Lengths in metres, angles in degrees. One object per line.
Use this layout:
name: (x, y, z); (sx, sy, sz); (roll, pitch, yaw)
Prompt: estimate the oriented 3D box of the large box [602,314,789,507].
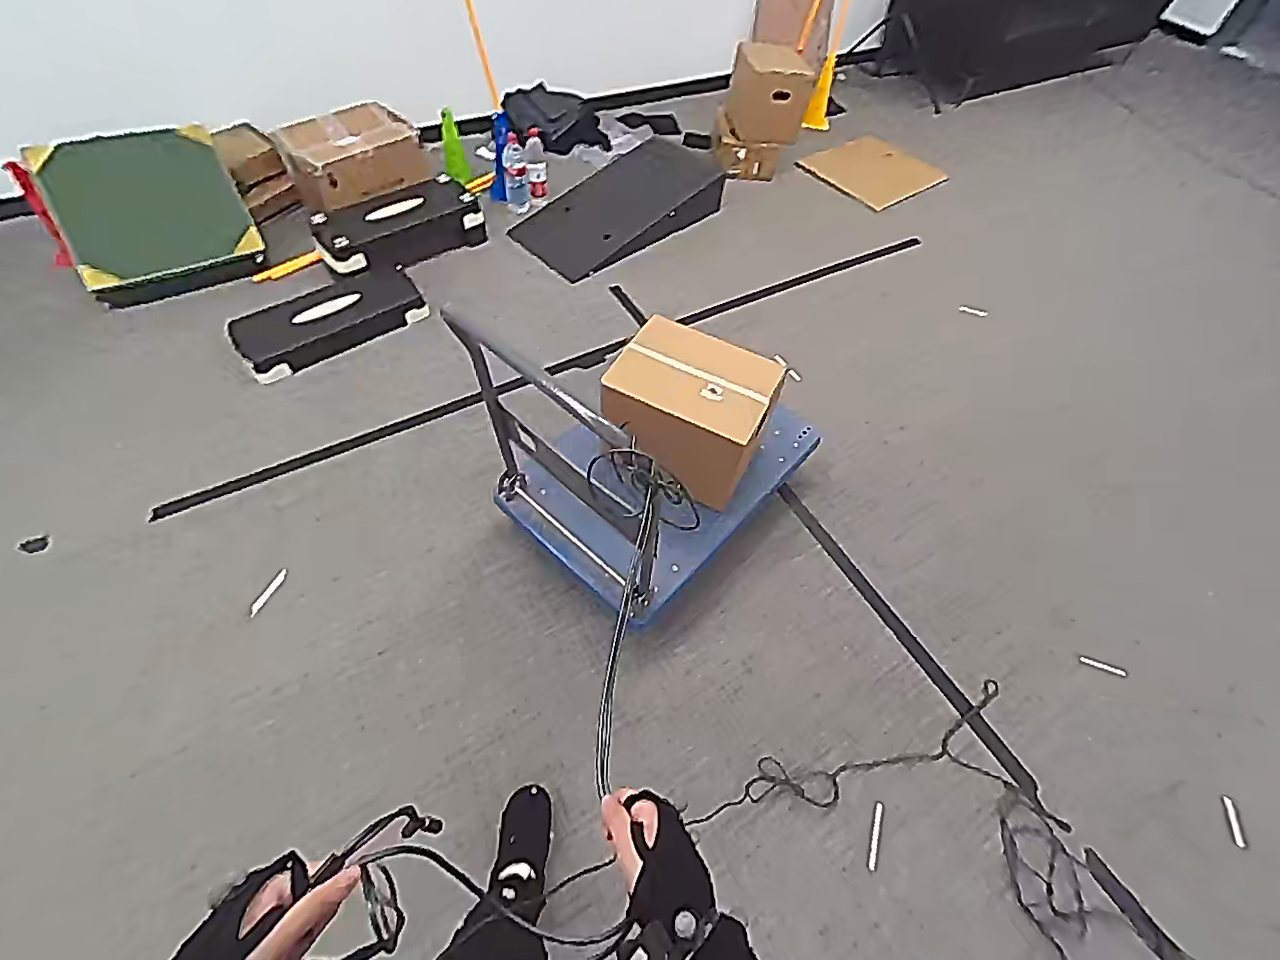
large box: (0.138, -0.191, 1.507); (0.408, 0.320, 0.320); (26, 59, 12)
